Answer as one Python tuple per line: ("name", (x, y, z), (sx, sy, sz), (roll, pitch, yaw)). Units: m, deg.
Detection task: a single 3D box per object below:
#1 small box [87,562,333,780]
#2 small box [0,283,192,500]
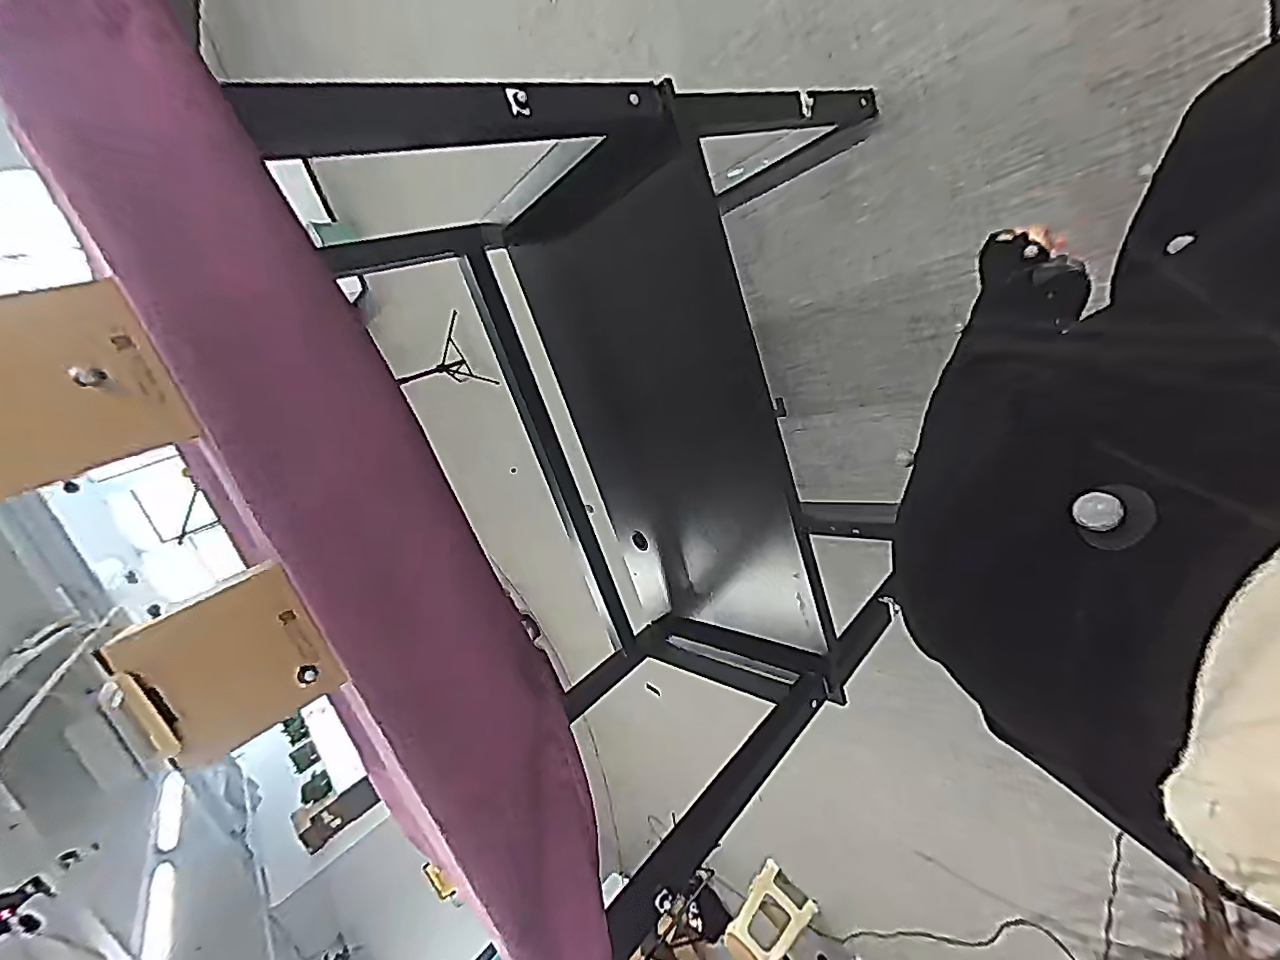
("small box", (-0.501, 0.212, 0.657), (0.179, 0.176, 0.168), (-8, 109, 53))
("small box", (-0.601, -0.088, 0.556), (0.179, 0.176, 0.168), (5, 119, 49))
